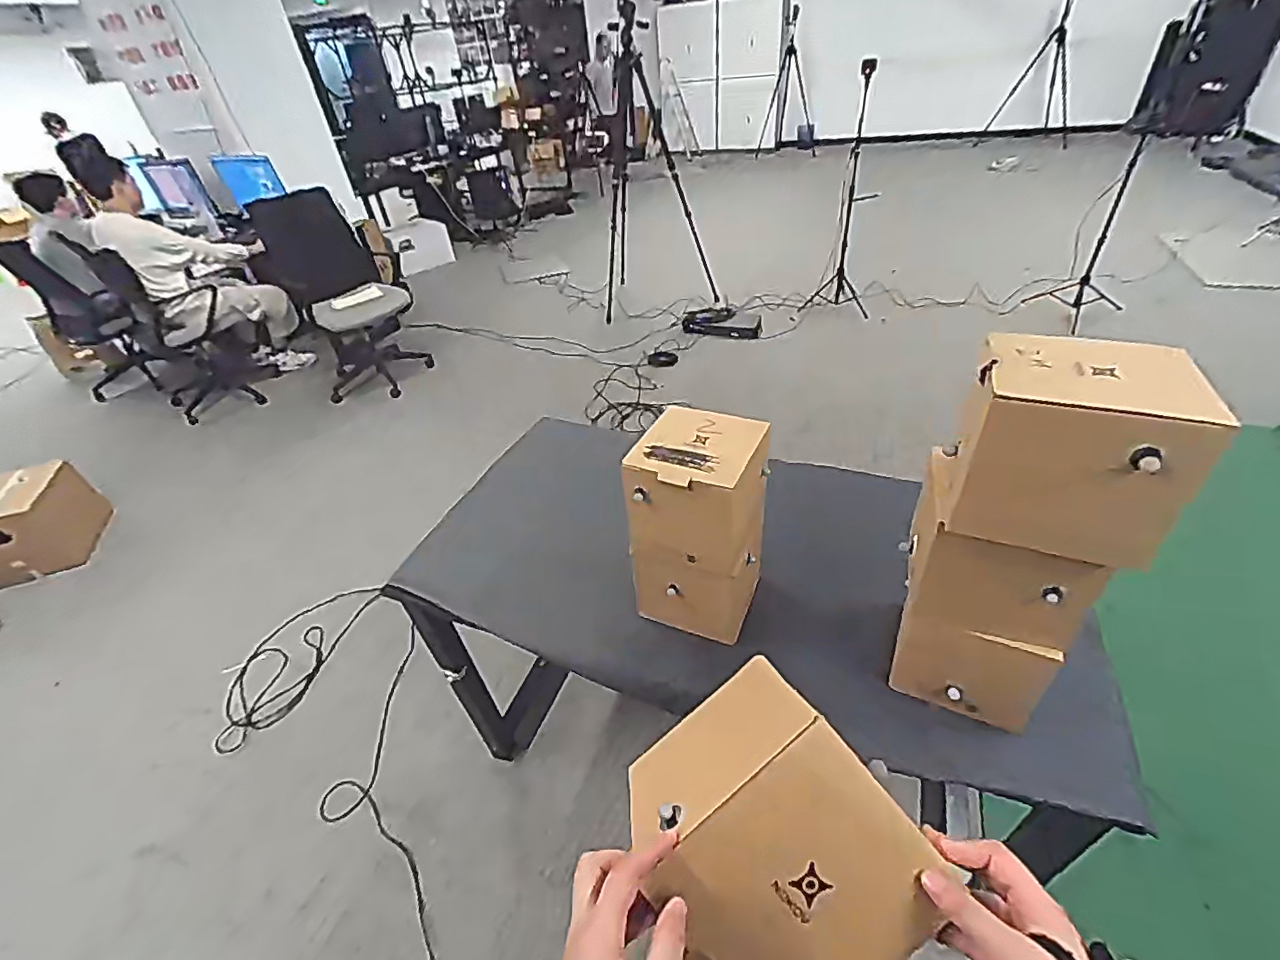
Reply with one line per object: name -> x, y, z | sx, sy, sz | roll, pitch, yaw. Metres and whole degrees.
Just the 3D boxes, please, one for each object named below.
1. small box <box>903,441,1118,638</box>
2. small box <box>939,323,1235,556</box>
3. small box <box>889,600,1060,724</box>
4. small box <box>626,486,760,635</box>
small box -> 0.441, 0.072, 0.677 | 0.179, 0.176, 0.168 | 8, 37, 20
small box -> 0.430, -0.045, 0.558 | 0.179, 0.176, 0.168 | 12, 39, 24
small box -> 0.466, 0.203, 0.769 | 0.168, 0.176, 0.179 | 14, 42, 26
small box -> 0.096, 0.135, 0.918 | 0.179, 0.176, 0.168 | 11, 41, 23
